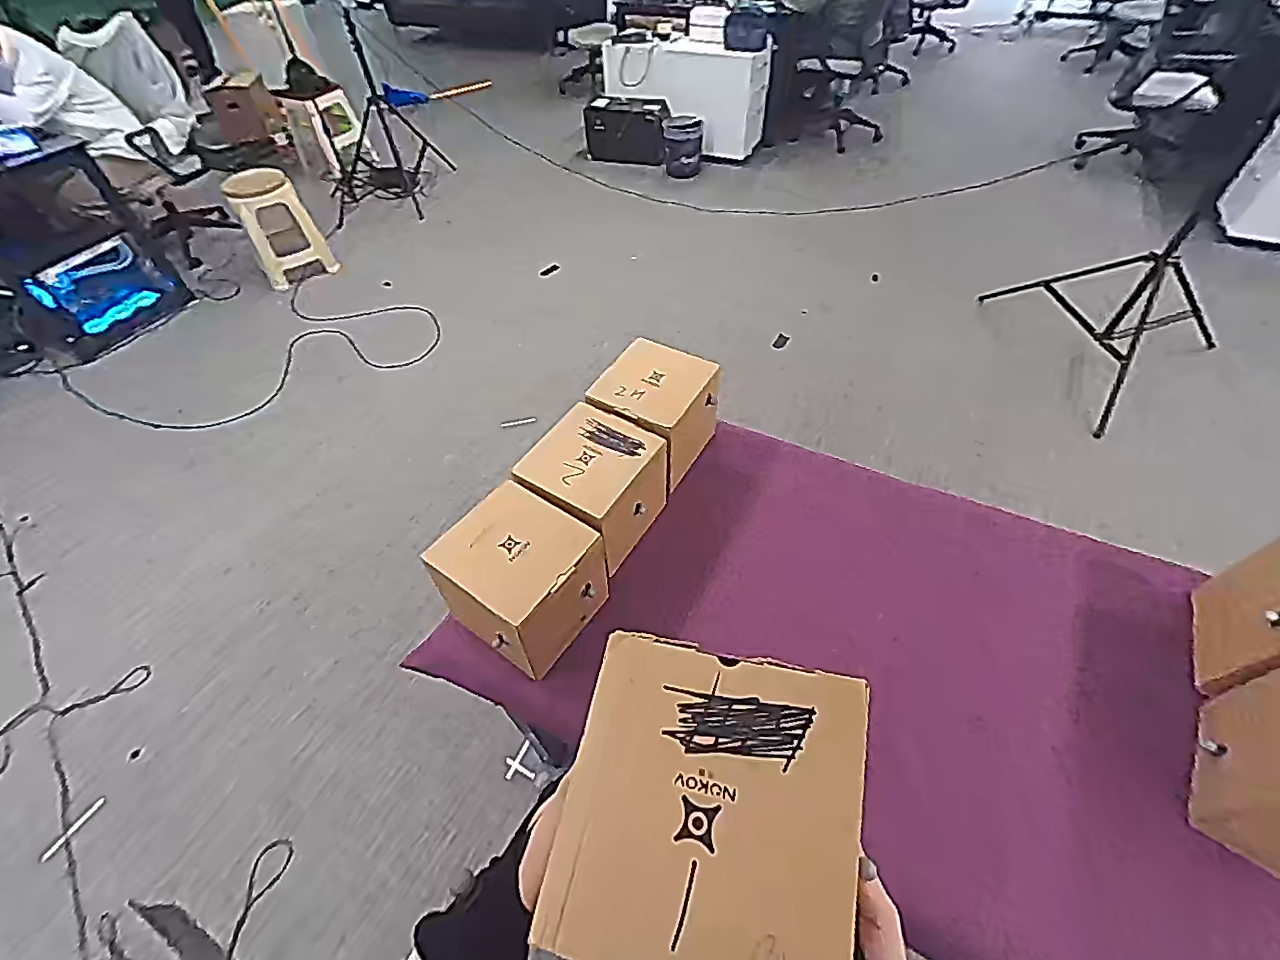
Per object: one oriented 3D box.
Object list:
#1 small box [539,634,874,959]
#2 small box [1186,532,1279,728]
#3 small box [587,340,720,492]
[{"bbox_3d":[0.060,0.229,0.375,0.168,0.176,0.179,6,61,20],"label":"small box"},{"bbox_3d":[0.840,0.199,0.675,0.168,0.176,0.179,24,55,20],"label":"small box"},{"bbox_3d":[0.025,-0.113,0.964,0.168,0.176,0.179,24,56,21],"label":"small box"}]
